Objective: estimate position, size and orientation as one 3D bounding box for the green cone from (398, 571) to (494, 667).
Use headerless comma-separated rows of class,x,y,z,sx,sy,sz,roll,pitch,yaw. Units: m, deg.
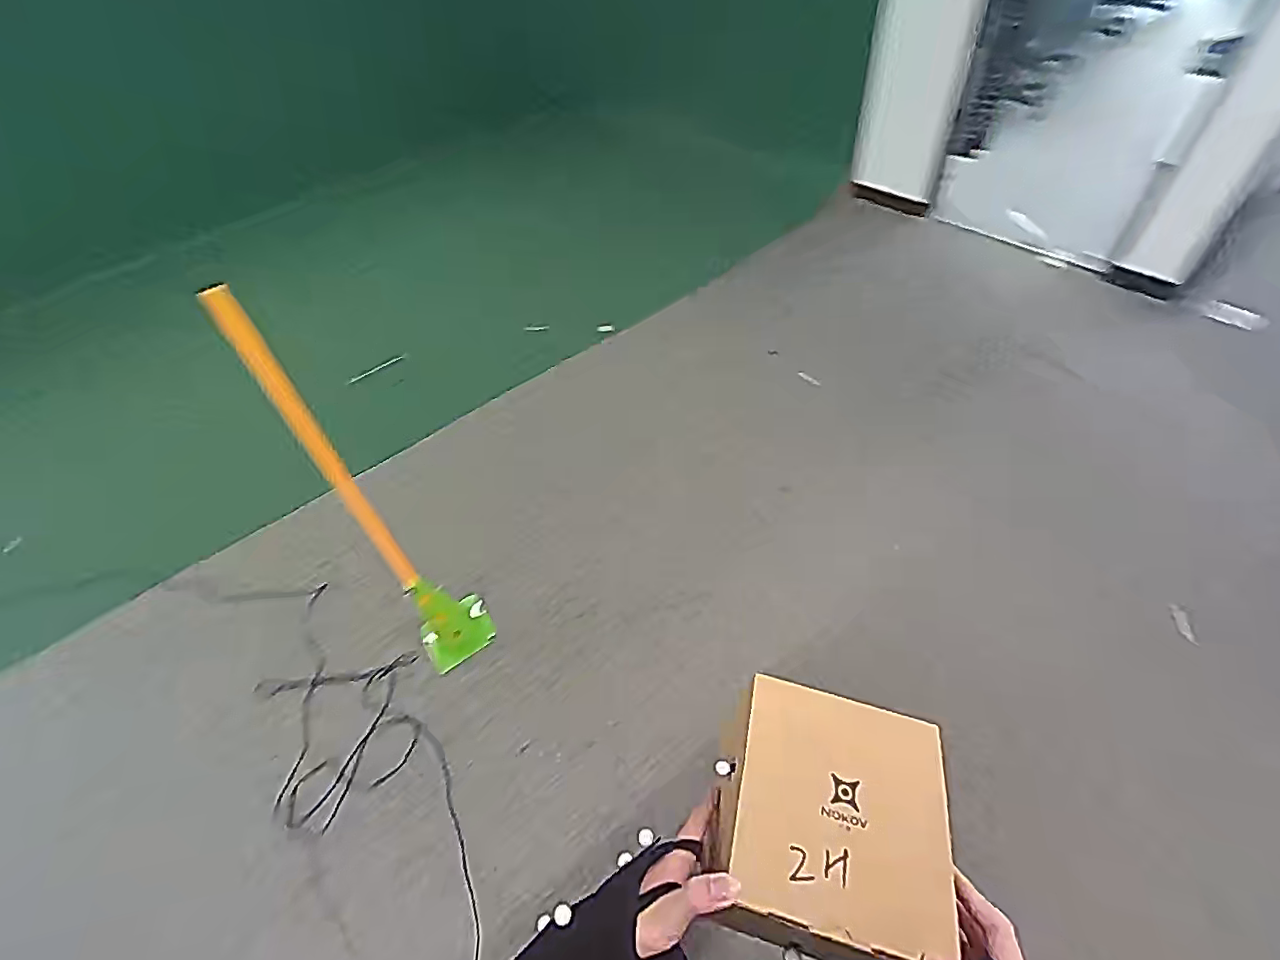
green cone,-0.615,0.370,1.613,0.202,0.368,0.200,-33,53,-16
